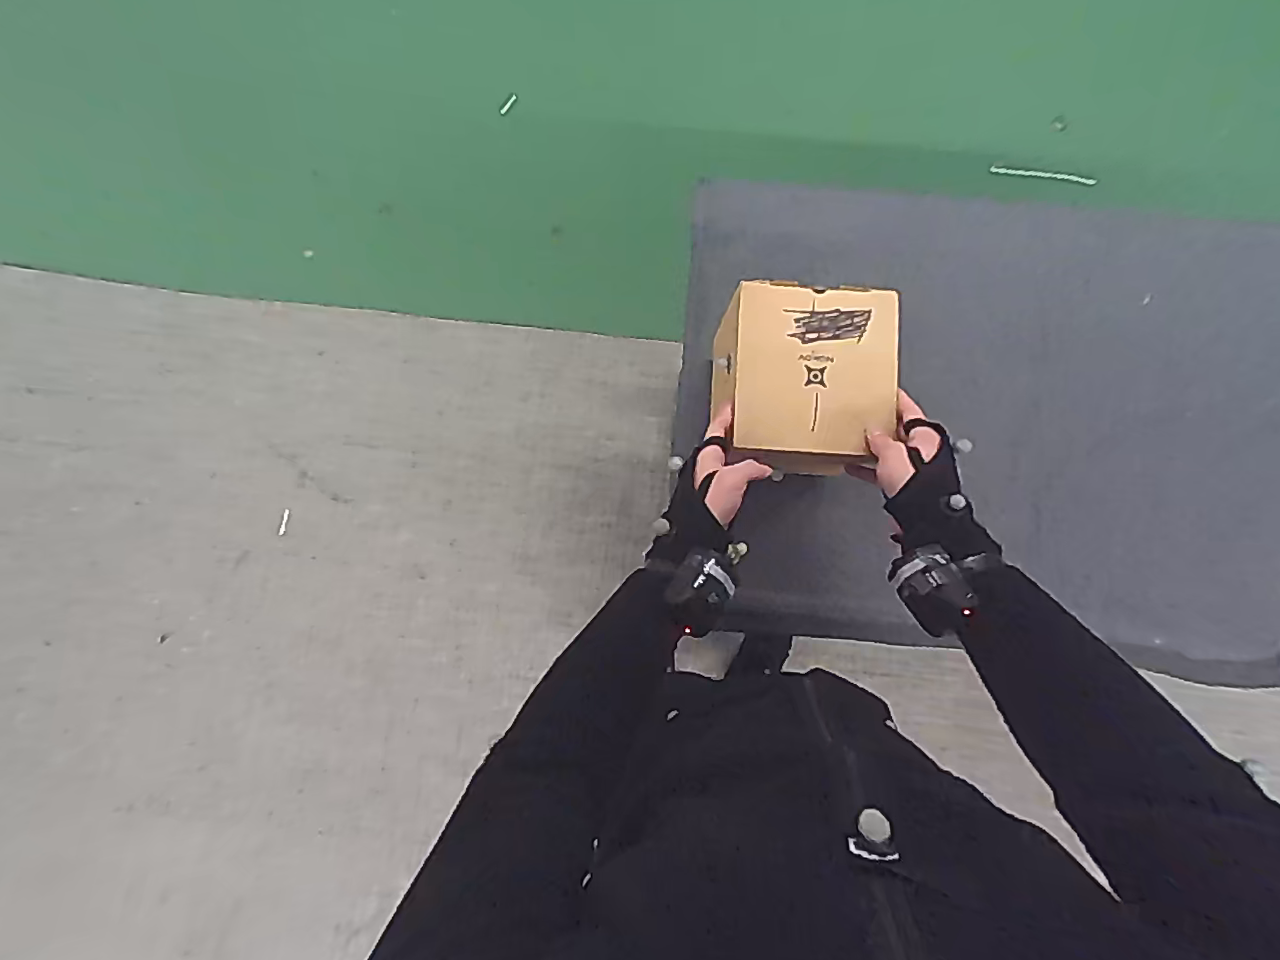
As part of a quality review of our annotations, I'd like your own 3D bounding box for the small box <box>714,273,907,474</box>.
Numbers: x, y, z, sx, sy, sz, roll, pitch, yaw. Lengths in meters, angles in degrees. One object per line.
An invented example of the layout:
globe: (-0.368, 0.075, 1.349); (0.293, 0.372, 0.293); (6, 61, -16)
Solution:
small box: (0.180, -0.108, 0.614); (0.168, 0.176, 0.179); (4, 84, 0)
